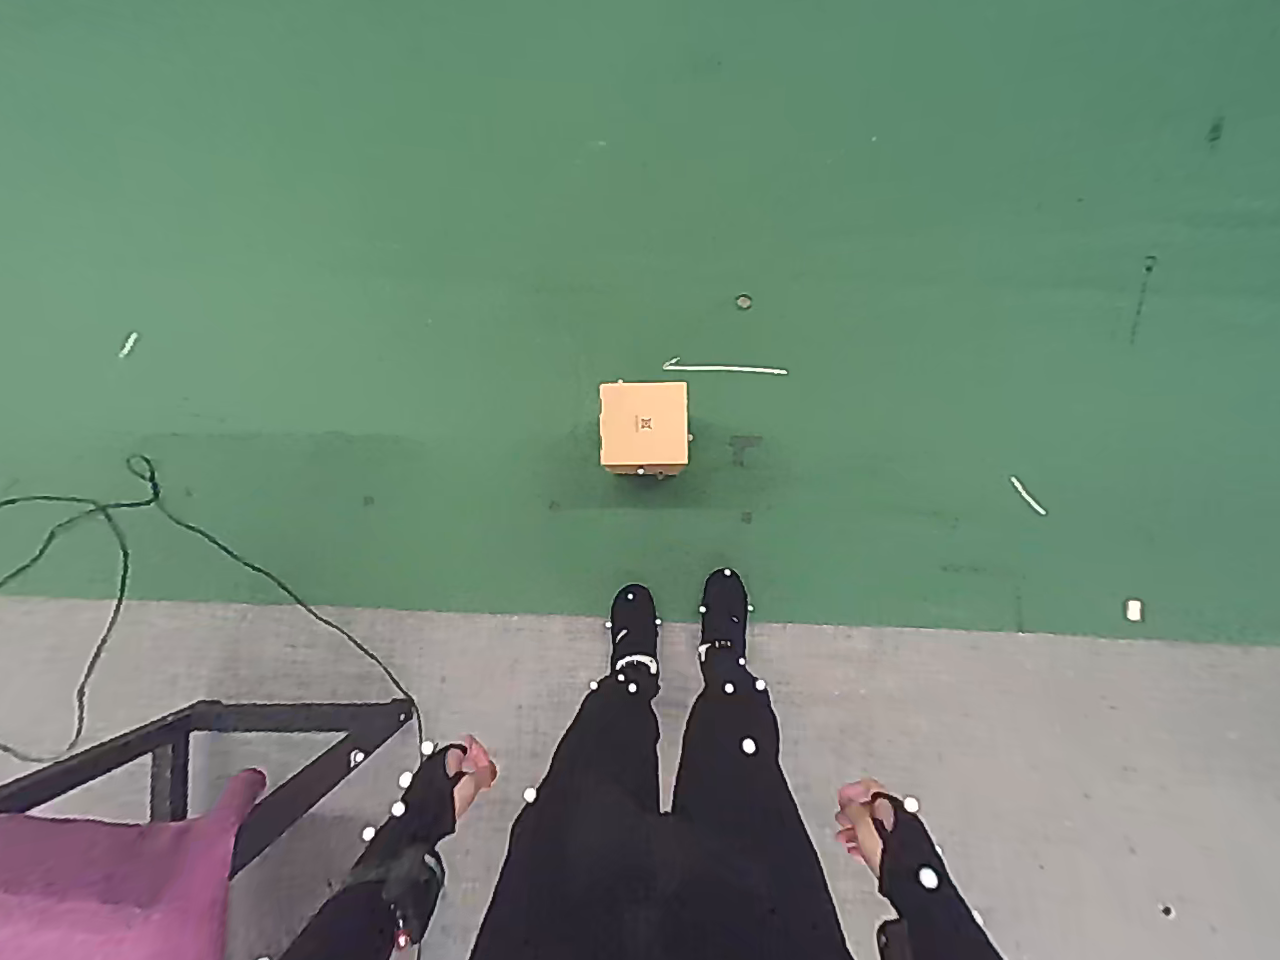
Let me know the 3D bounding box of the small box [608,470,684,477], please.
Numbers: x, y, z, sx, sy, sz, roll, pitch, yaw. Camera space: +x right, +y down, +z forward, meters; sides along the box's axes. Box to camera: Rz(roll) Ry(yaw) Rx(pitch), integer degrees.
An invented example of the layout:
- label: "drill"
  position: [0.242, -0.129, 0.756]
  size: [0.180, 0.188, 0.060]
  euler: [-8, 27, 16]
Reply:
- label: "small box"
  position: [0.018, -0.094, 1.318]
  size: [0.179, 0.176, 0.168]
  euler: [2, 87, 3]

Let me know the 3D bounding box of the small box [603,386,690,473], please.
- label: "small box"
  position: [0.017, -0.103, 1.155]
  size: [0.179, 0.176, 0.168]
  euler: [-1, 88, 4]
